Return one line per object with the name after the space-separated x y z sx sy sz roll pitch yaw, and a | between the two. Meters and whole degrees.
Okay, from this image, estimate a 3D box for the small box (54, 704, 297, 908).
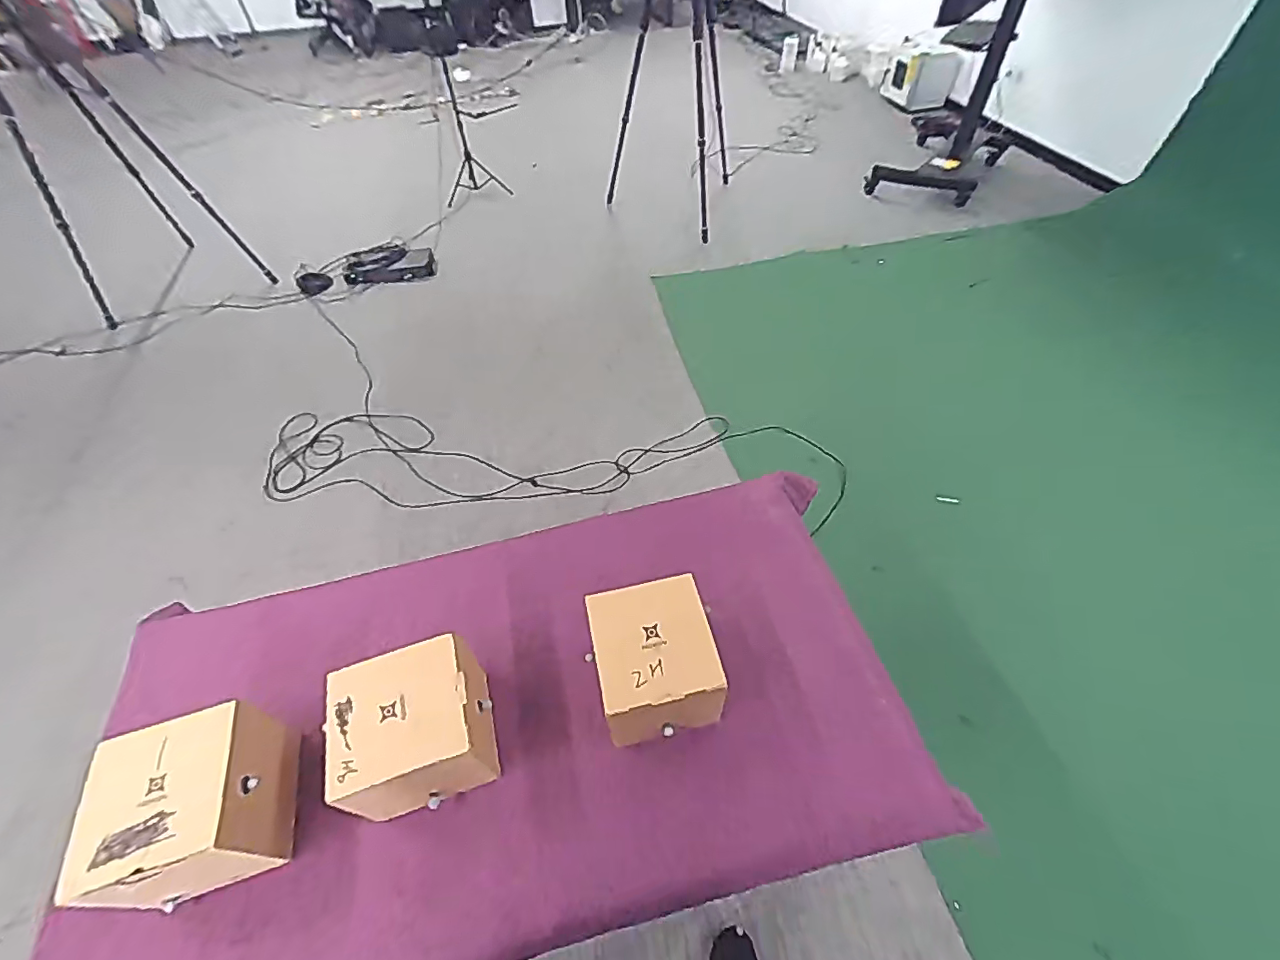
-0.581 0.429 0.711 0.168 0.176 0.179 -15 51 -11 | small box

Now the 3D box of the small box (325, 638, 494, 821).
-0.313 0.353 0.764 0.179 0.176 0.168 -16 52 -11 | small box

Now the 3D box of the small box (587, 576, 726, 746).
0.020 0.274 0.814 0.168 0.176 0.179 -12 51 -6 | small box
